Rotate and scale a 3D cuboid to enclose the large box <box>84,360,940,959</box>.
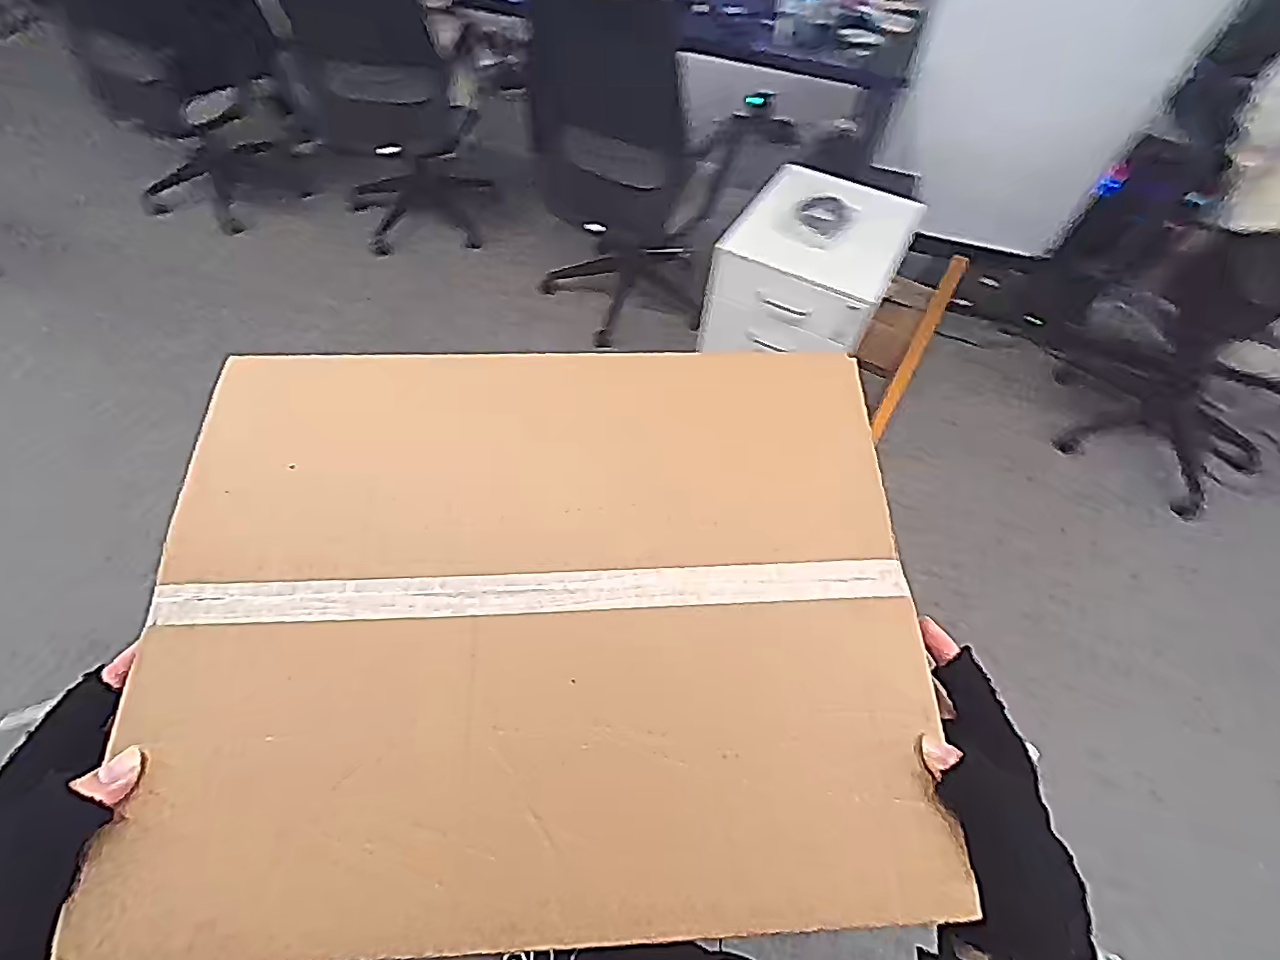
[{"bbox_3d":[-0.065,0.125,0.441,0.408,0.320,0.320,-3,68,-4],"label":"large box"}]
